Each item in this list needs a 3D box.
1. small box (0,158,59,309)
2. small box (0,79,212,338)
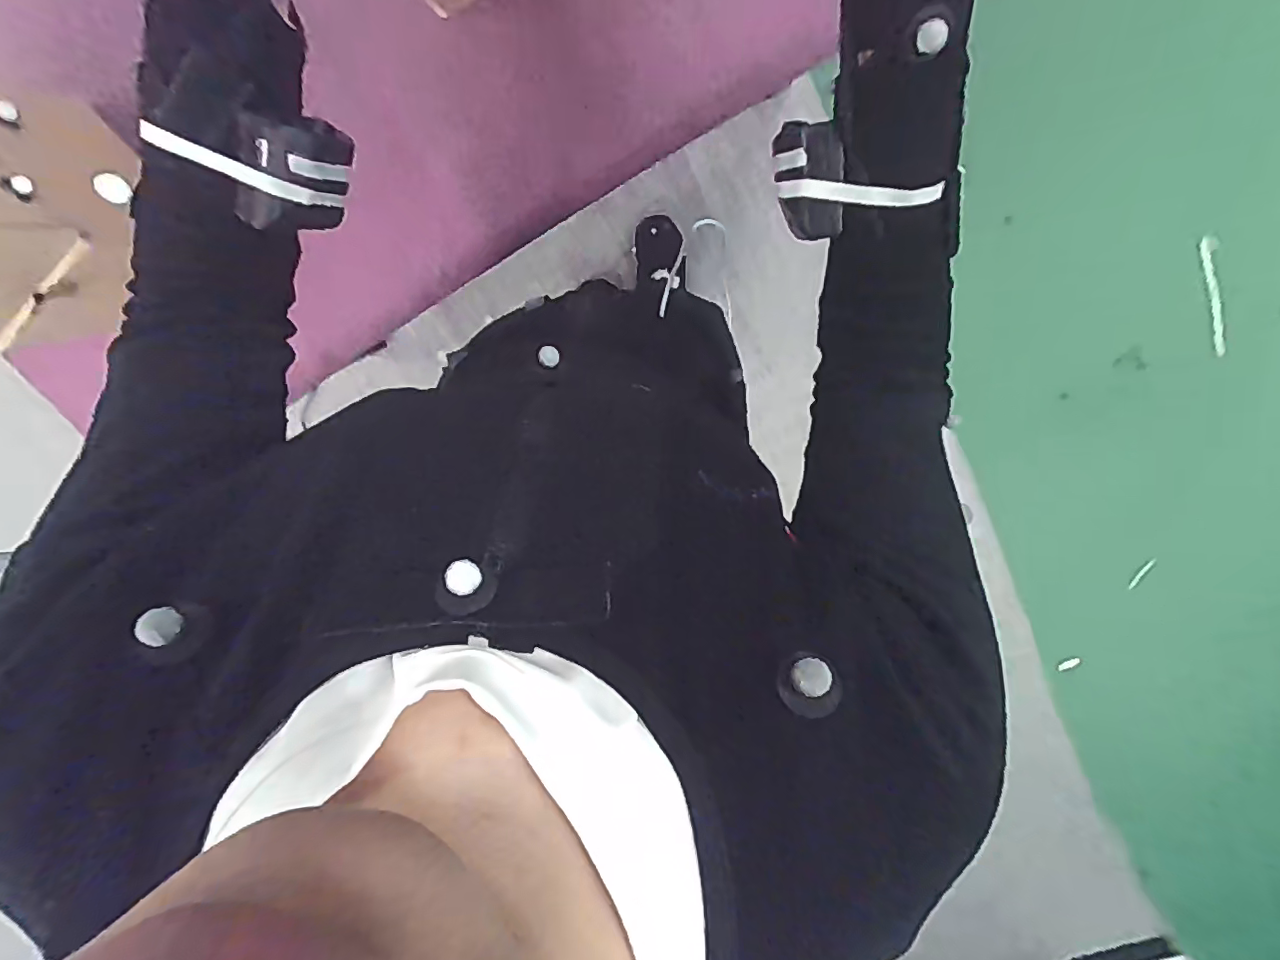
[{"bbox_3d":[-0.612,-0.210,0.399,0.179,0.176,0.168,-32,108,14],"label":"small box"},{"bbox_3d":[-0.612,-0.273,0.553,0.168,0.176,0.179,-34,110,16],"label":"small box"}]
